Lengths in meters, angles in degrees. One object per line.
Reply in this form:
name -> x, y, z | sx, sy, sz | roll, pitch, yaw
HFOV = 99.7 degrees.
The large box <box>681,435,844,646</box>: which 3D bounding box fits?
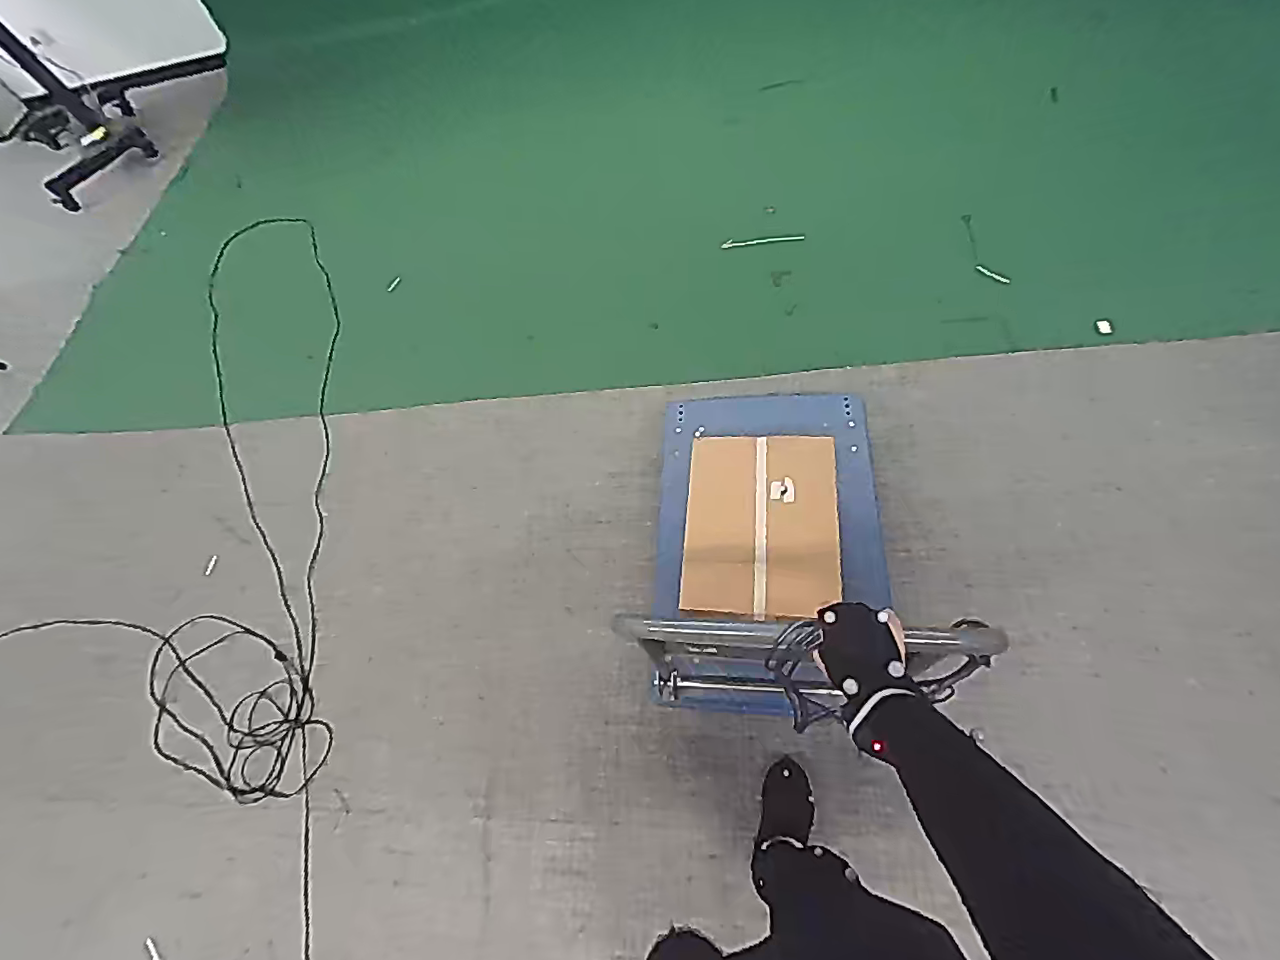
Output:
large box -> 0.278, 0.147, 1.254 | 0.320, 0.320, 0.408 | 1, 63, 12
